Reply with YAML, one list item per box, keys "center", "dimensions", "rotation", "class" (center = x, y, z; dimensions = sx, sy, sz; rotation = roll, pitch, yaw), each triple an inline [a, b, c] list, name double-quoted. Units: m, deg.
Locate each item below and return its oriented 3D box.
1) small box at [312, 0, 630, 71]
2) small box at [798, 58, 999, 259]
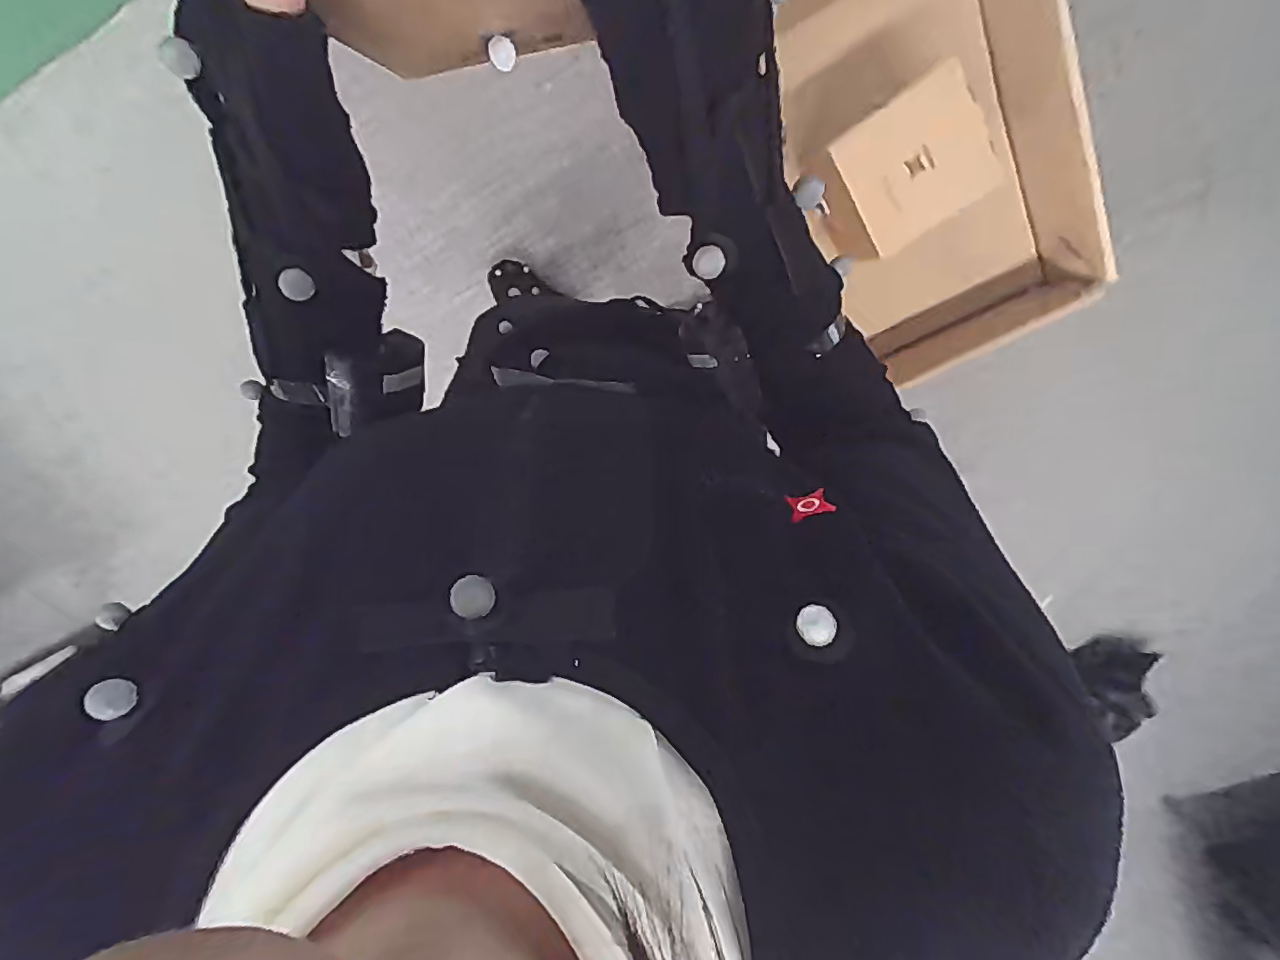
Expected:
- center: [-0.099, -0.319, 0.235]
  dimensions: [0.168, 0.176, 0.179]
  rotation: [-9, 115, 6]
  class: "small box"
- center: [0.354, -0.438, 0.770]
  dimensions: [0.179, 0.176, 0.168]
  rotation: [-31, 107, 13]
  class: "small box"
